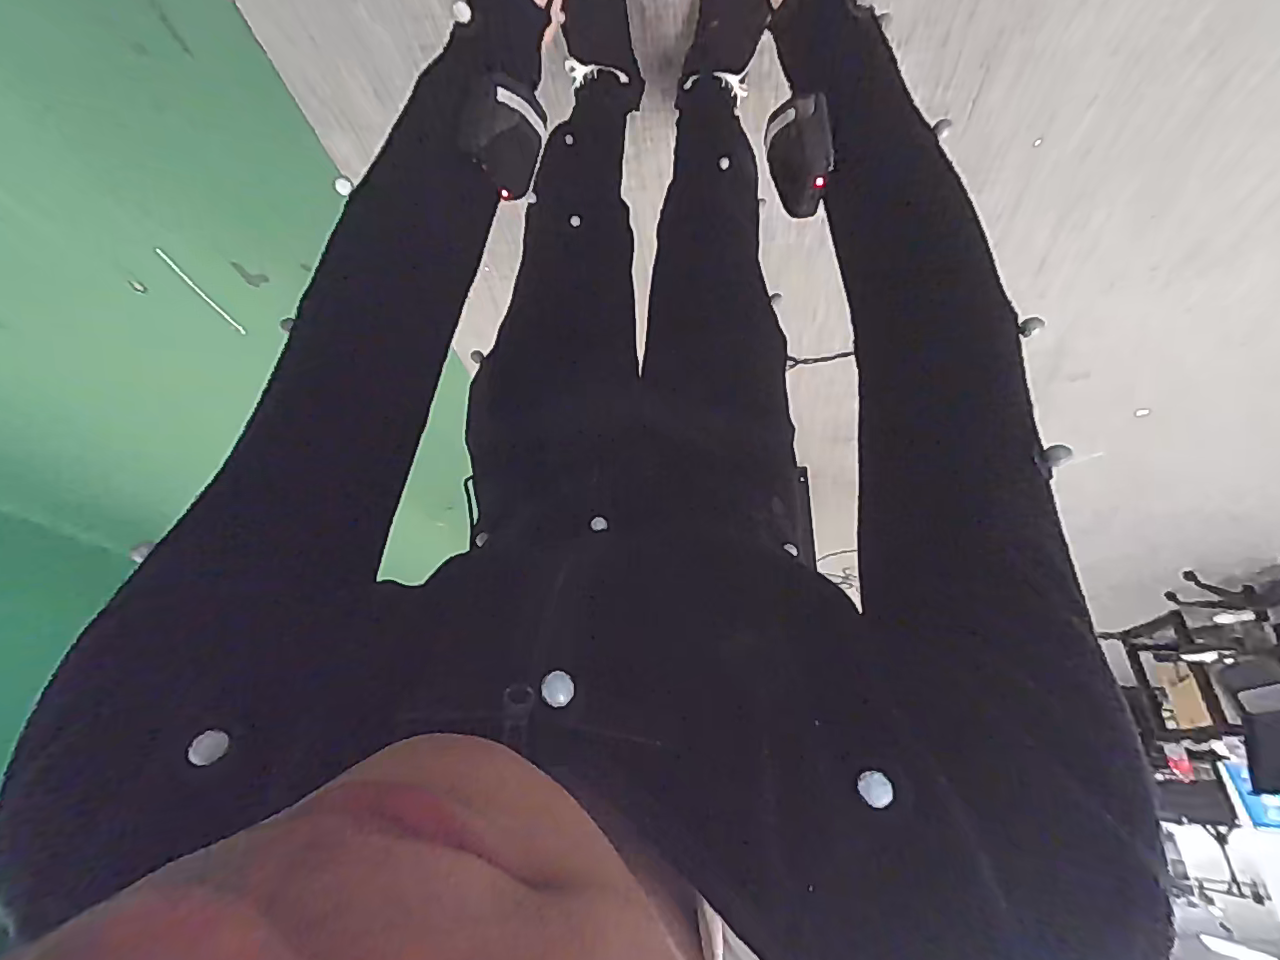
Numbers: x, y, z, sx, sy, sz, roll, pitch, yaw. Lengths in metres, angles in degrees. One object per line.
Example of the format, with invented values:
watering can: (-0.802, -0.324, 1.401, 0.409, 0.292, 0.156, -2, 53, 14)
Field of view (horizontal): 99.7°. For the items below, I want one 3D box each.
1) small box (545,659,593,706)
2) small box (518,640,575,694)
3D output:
small box: (-0.306, 0.877, 2.353, 0.168, 0.176, 0.179, 0, 148, 8)
small box: (-0.353, 0.723, 2.080, 0.168, 0.176, 0.179, -3, 151, 8)
